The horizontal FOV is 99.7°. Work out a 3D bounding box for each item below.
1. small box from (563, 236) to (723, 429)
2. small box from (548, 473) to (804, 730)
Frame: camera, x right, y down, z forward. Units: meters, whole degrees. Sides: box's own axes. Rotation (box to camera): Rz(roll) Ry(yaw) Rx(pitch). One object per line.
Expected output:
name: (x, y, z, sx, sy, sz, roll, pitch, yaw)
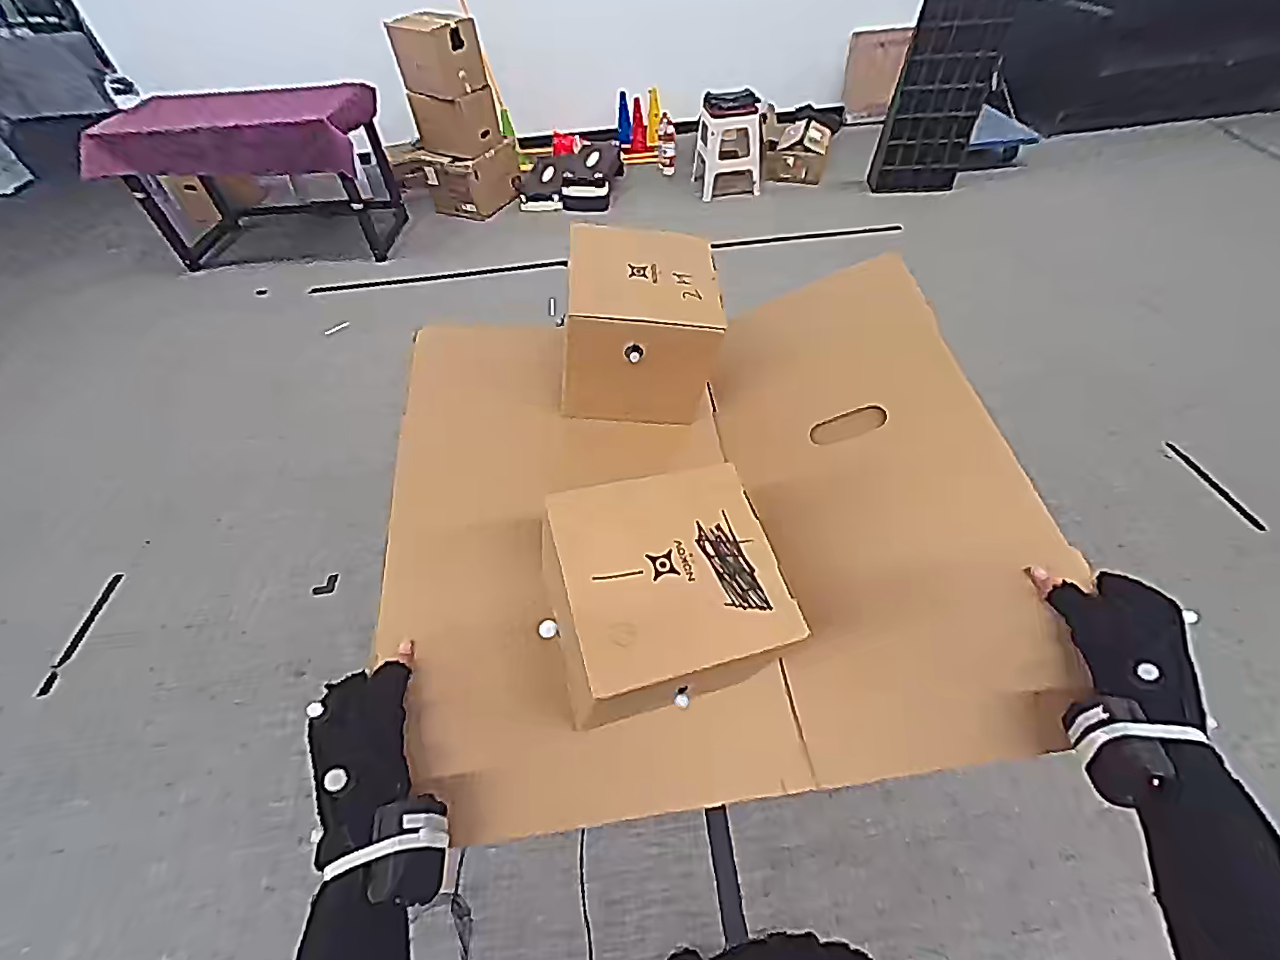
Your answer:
small box: (-0.007, -0.181, 0.693, 0.179, 0.176, 0.168, 3, 57, -9)
small box: (0.015, 0.116, 0.505, 0.179, 0.176, 0.168, -11, 60, -16)
